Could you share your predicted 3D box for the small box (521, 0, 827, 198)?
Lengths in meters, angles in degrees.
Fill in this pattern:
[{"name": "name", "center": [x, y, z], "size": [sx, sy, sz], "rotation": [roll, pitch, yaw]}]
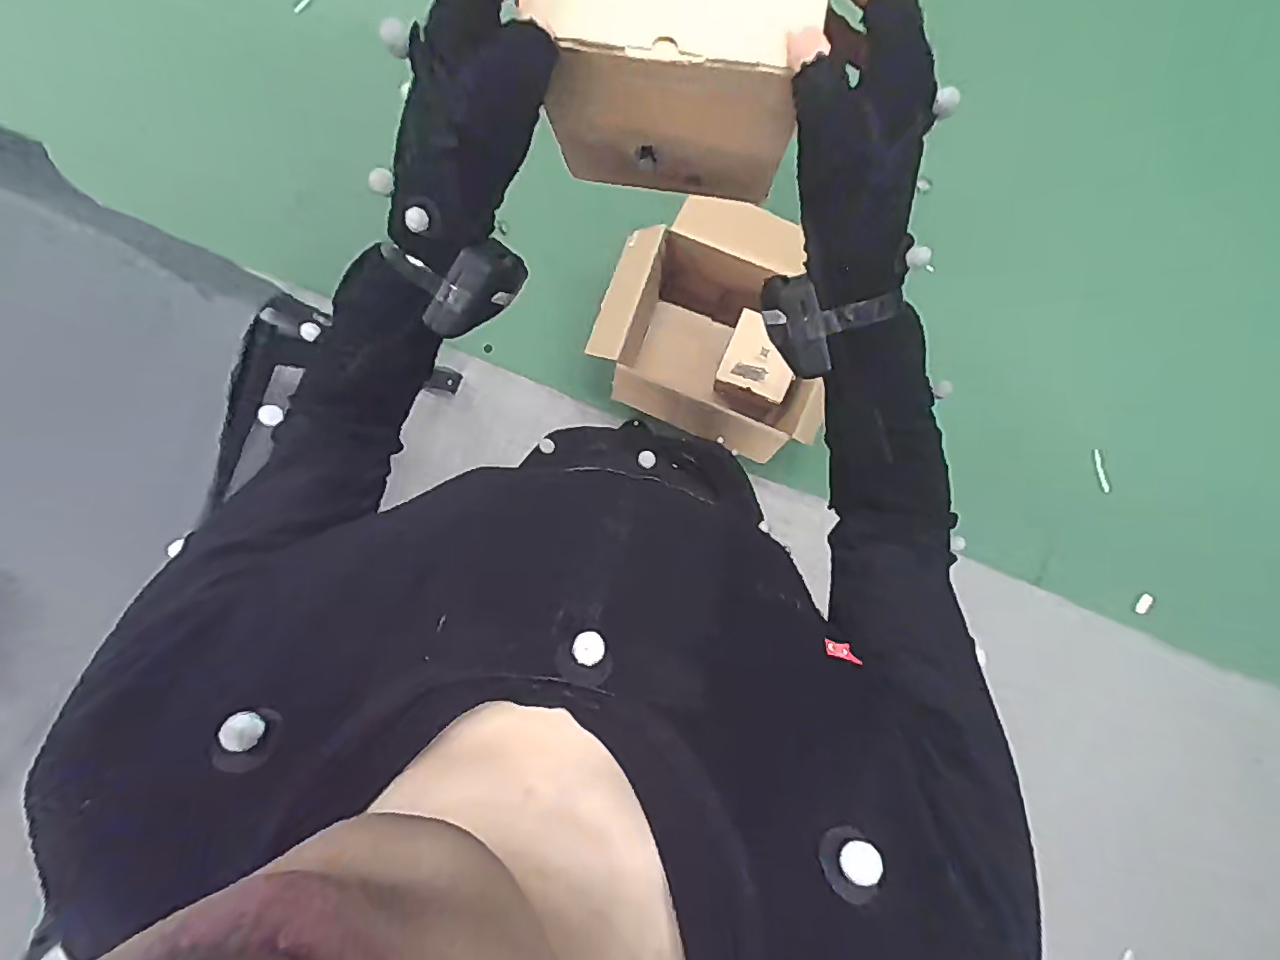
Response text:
[{"name": "small box", "center": [0.030, -0.322, 0.365], "size": [0.168, 0.176, 0.179], "rotation": [9, 98, 2]}]
